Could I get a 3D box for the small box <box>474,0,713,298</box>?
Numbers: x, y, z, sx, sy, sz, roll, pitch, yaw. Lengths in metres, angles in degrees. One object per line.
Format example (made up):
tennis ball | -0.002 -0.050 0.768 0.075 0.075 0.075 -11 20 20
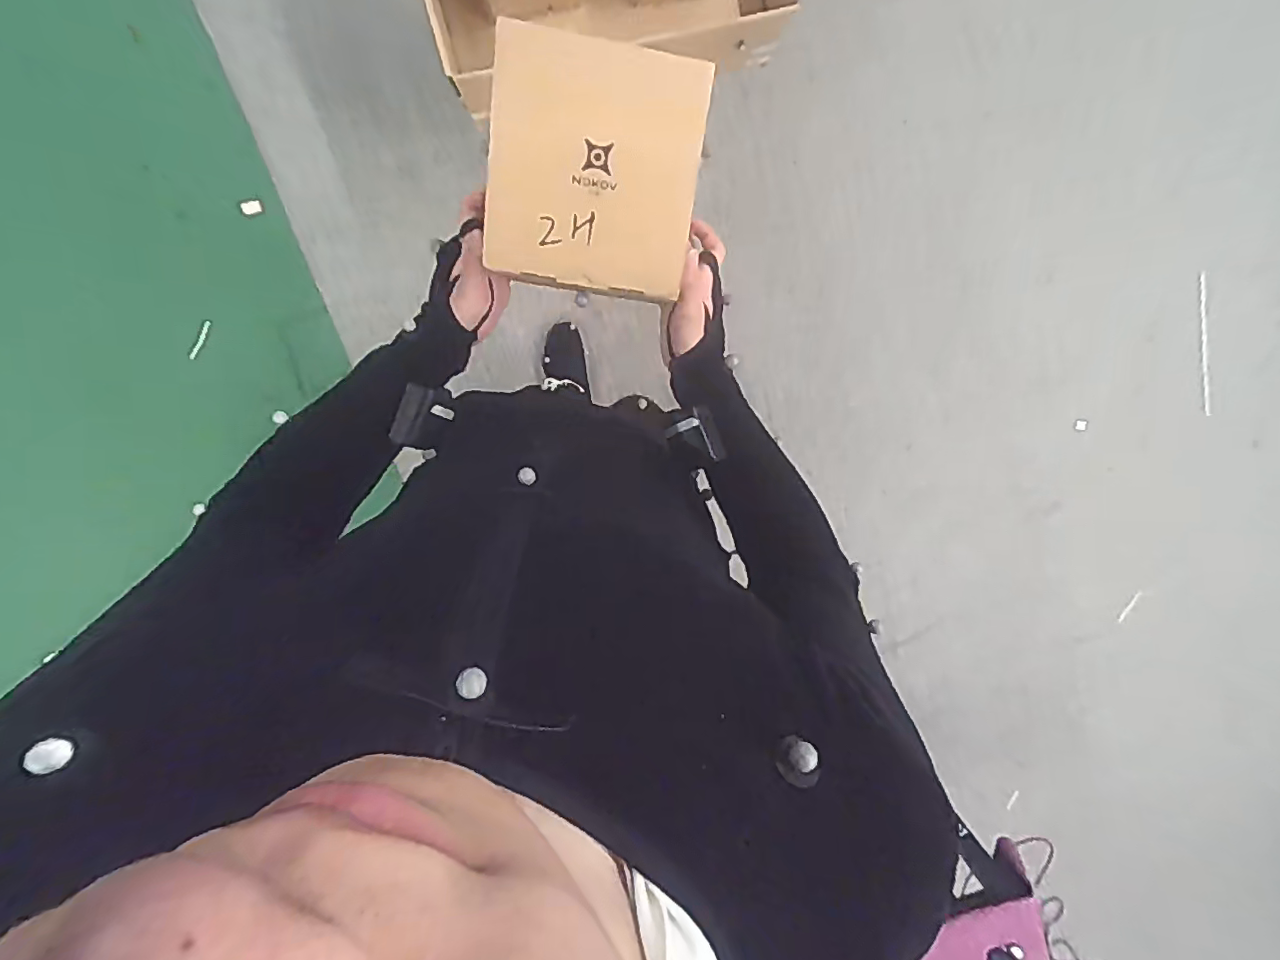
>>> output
small box | -0.045 -0.270 0.488 0.168 0.176 0.179 7 106 -7
